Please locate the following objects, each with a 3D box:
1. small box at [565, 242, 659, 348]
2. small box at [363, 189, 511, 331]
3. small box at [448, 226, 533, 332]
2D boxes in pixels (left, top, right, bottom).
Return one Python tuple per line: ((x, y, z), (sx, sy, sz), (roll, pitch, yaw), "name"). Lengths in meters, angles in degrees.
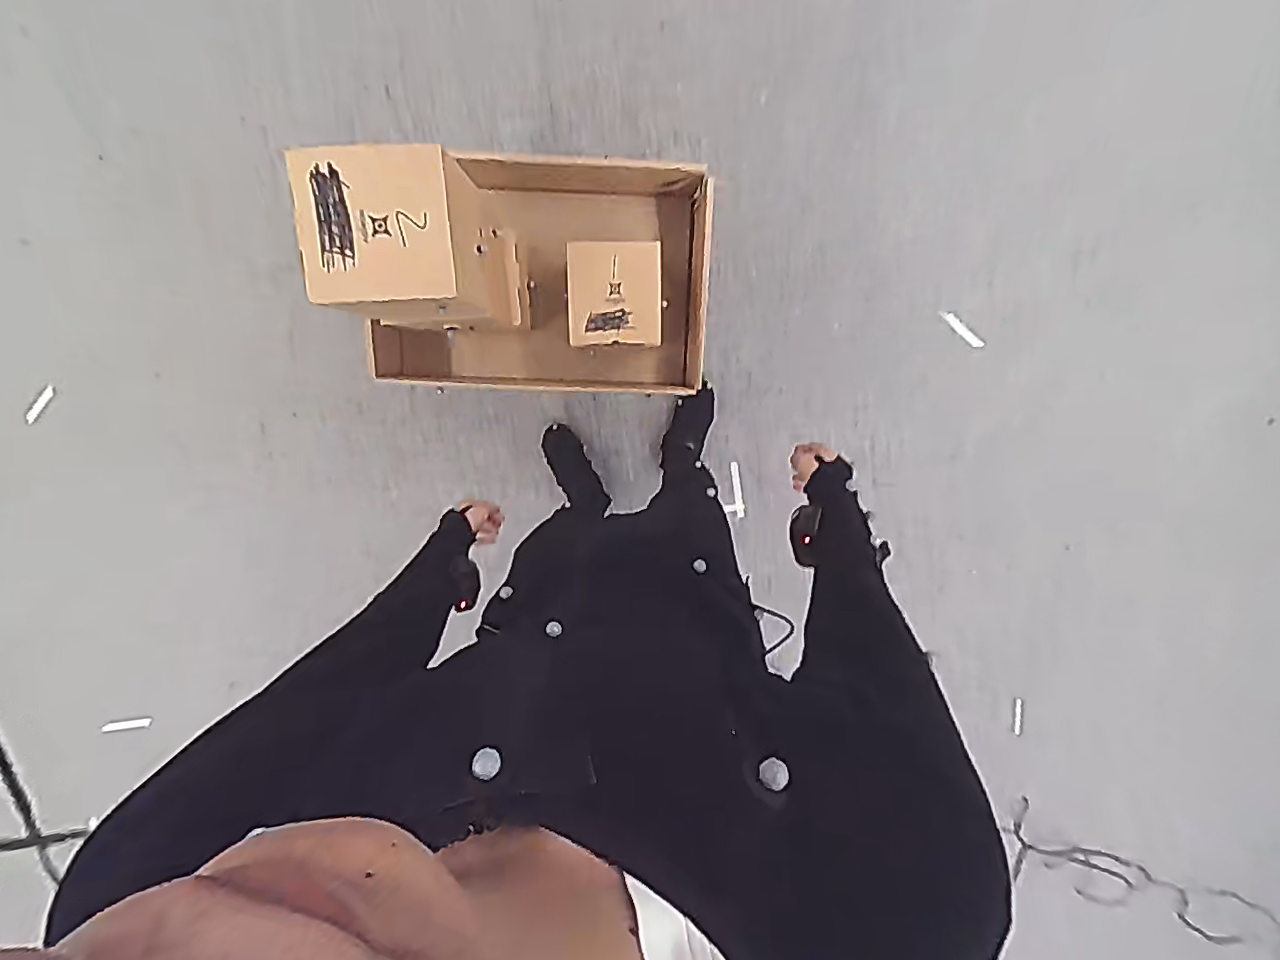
((-0.049, -0.342, 1.028), (0.168, 0.176, 0.179), (-1, 101, -2), "small box")
((-0.306, -0.335, 0.852), (0.168, 0.176, 0.179), (-4, 102, -1), "small box")
((-0.303, -0.367, 1.012), (0.179, 0.176, 0.168), (-2, 102, -3), "small box")
